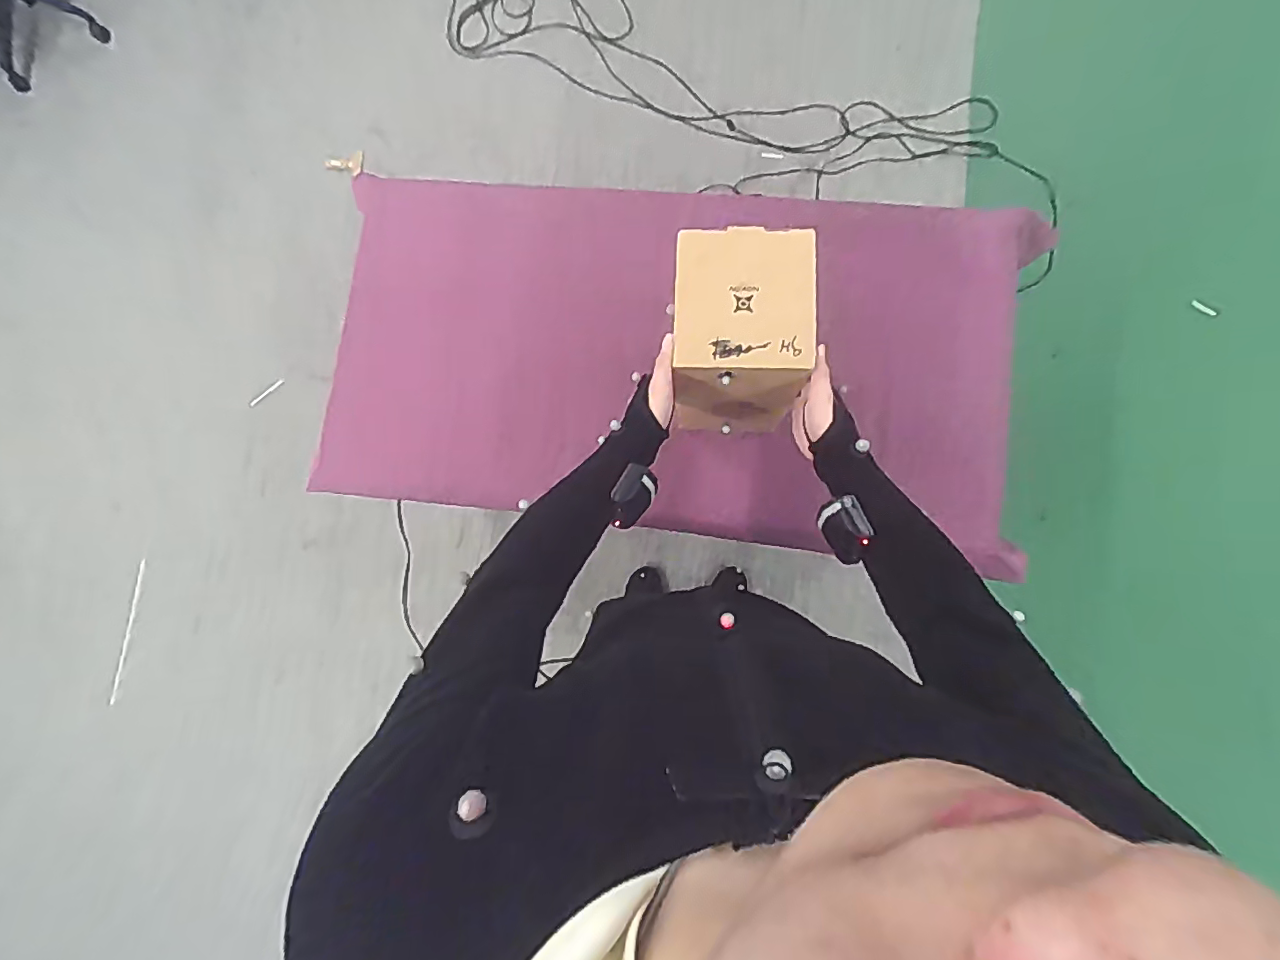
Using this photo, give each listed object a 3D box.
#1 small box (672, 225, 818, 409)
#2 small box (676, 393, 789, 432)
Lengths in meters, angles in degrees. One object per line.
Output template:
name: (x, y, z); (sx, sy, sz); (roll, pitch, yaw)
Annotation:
small box: (0.128, -0.203, 0.703); (0.168, 0.176, 0.179); (2, 81, 6)
small box: (0.146, -0.184, 0.869); (0.168, 0.176, 0.179); (3, 83, 6)
